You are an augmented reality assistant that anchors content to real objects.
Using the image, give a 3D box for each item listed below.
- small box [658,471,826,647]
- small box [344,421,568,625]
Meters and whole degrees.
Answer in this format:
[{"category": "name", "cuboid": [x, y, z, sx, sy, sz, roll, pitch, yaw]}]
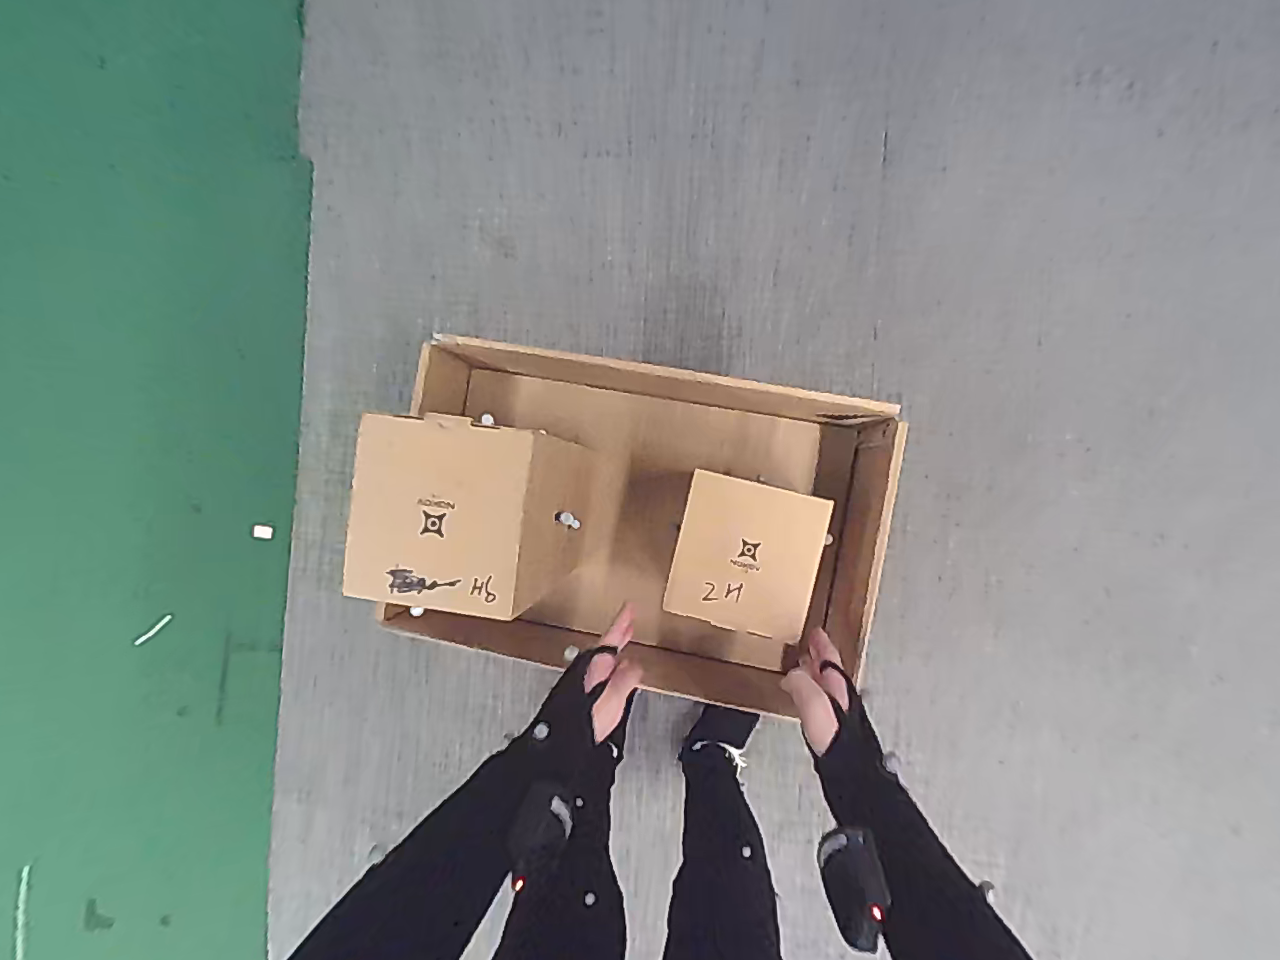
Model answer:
[{"category": "small box", "cuboid": [0.127, 0.092, 0.714, 0.168, 0.176, 0.179, 14, 92, 7]}, {"category": "small box", "cuboid": [-0.182, 0.040, 0.586, 0.168, 0.176, 0.179, 7, 90, 8]}]
